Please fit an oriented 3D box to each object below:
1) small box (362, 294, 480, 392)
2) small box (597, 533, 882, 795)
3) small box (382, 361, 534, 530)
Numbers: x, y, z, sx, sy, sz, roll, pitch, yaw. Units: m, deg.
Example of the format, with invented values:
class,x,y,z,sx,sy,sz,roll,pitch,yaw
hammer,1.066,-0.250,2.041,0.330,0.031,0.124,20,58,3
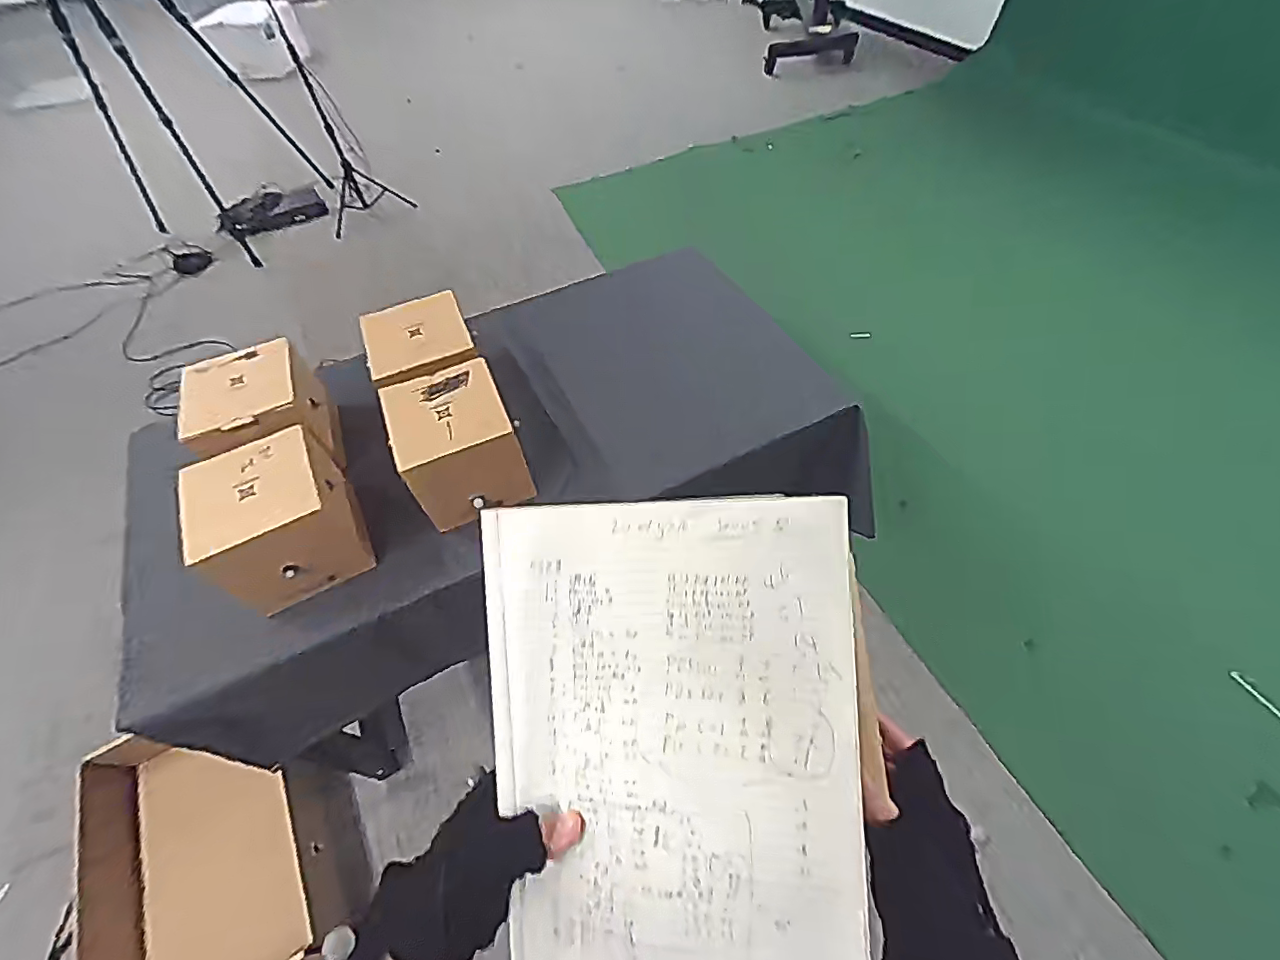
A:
class,x,y,z,sx,sy,sz,roll,pitch,yaw
small box,-0.372,-0.196,0.971,0.168,0.176,0.179,-21,56,-11
small box,0.067,0.149,0.436,0.179,0.176,0.168,0,63,4
small box,-0.283,-0.052,0.857,0.168,0.176,0.179,-21,56,-11
